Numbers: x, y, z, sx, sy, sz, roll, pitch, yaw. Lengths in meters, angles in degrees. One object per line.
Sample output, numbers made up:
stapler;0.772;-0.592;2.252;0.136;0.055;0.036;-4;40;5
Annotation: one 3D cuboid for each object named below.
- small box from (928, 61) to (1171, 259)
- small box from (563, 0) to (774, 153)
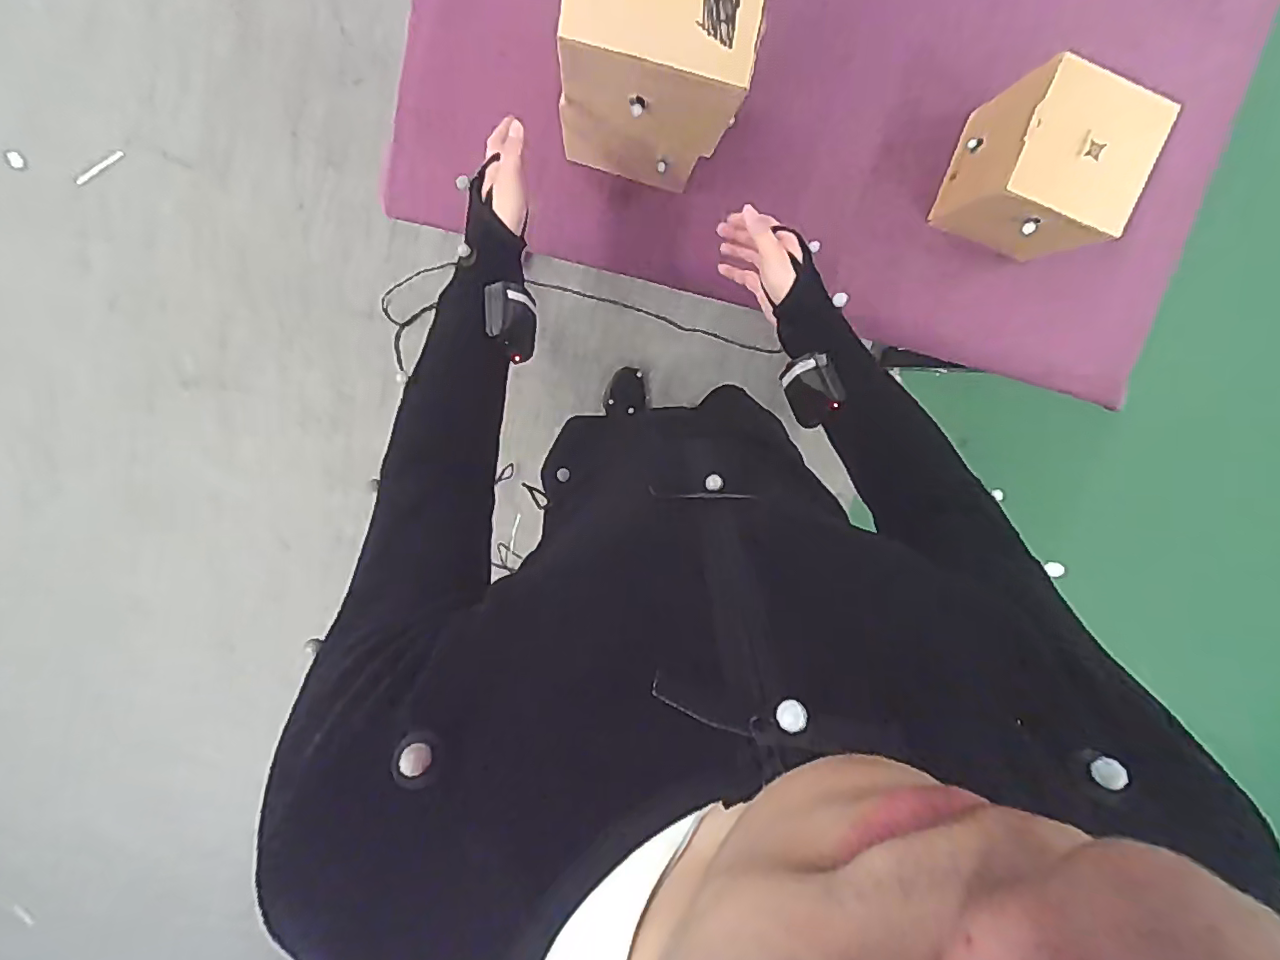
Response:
small box;0.557;-0.428;0.761;0.179;0.176;0.168;18;100;-7
small box;0.027;-0.456;0.539;0.179;0.176;0.168;10;101;-7
